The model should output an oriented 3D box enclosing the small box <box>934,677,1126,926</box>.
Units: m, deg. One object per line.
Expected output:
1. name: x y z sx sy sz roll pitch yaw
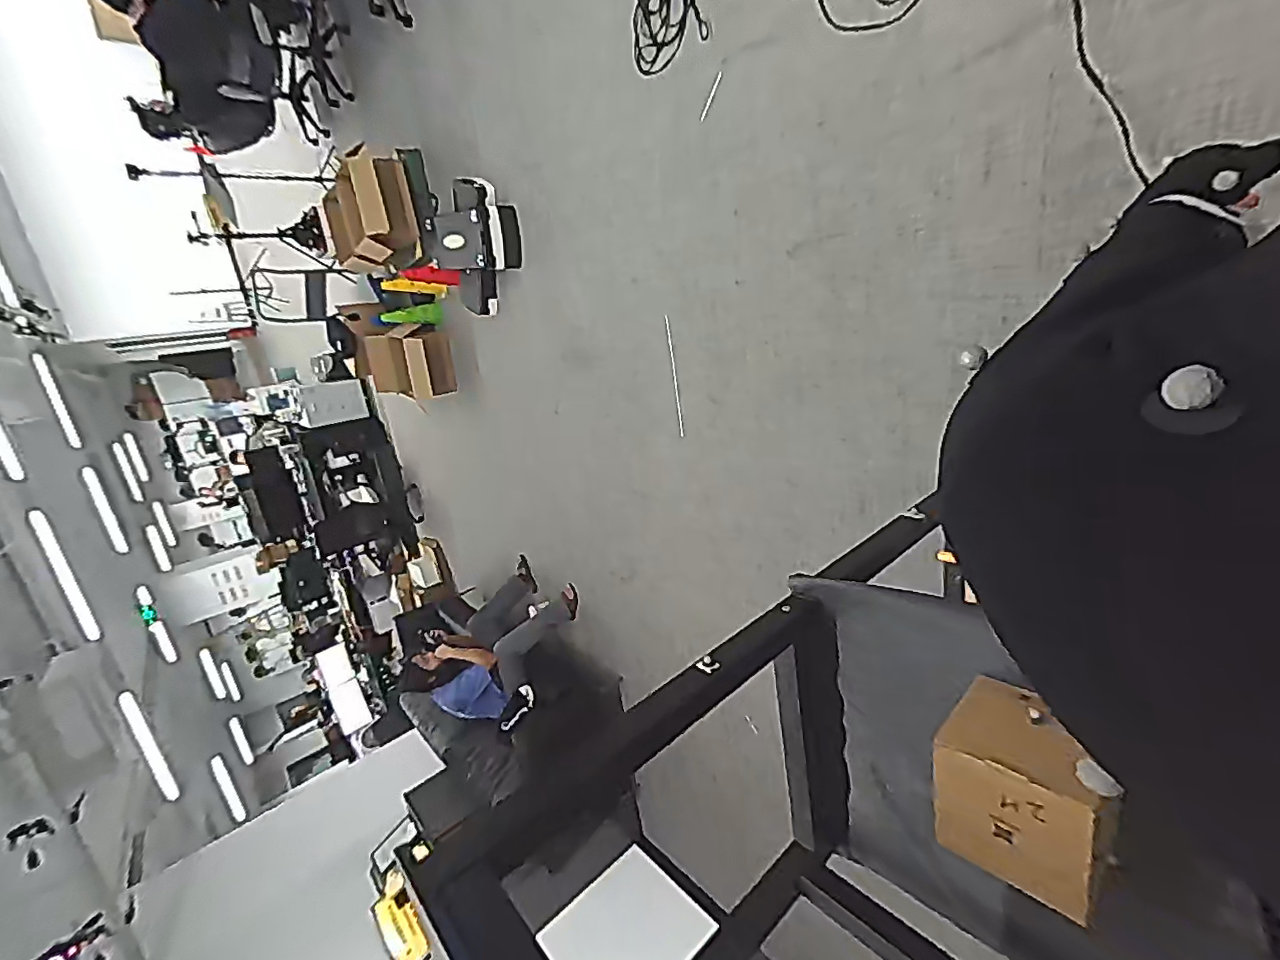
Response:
1. small box: 0.500 0.394 0.697 0.168 0.176 0.179 8 113 48
